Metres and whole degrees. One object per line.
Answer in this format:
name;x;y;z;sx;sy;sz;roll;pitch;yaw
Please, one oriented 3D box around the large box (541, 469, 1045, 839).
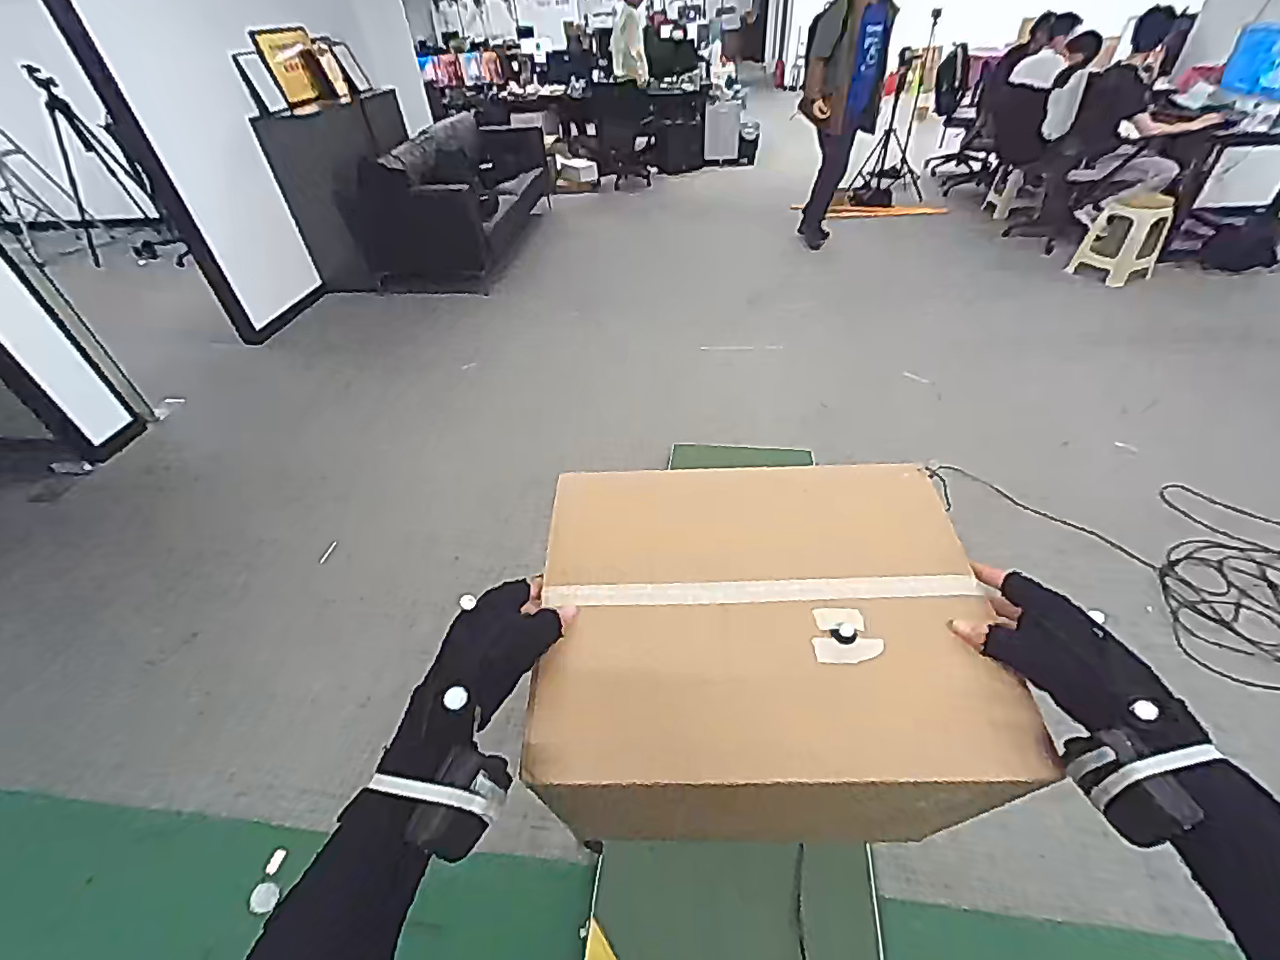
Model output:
large box;0.119;0.207;0.628;0.408;0.320;0.320;-2;50;1
